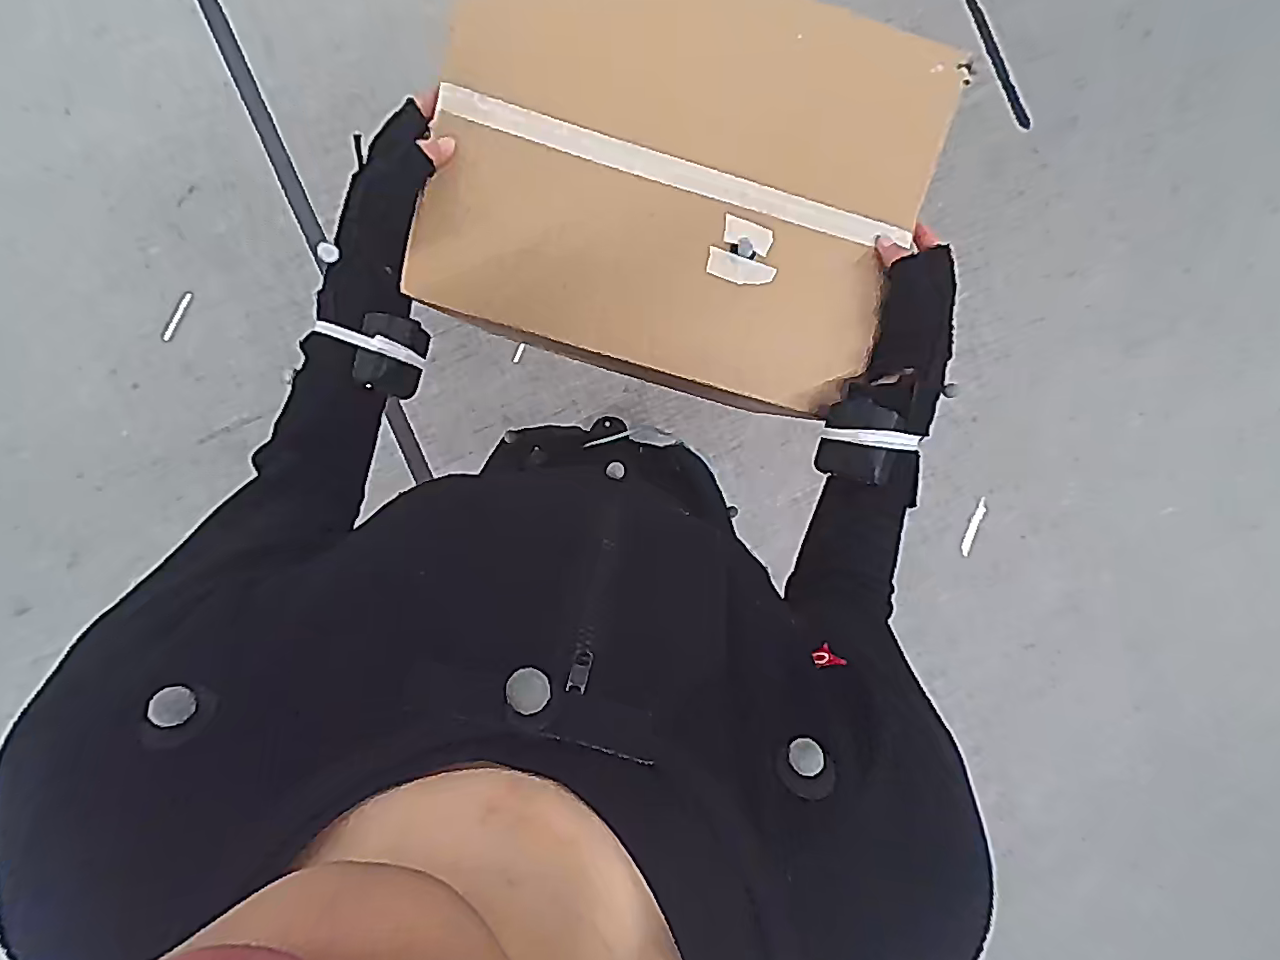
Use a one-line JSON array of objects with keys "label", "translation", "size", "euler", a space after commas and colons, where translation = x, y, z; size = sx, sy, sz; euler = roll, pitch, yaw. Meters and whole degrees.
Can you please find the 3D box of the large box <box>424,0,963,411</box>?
[{"label": "large box", "translation": [0.035, -0.282, 0.605], "size": [0.408, 0.320, 0.320], "euler": [16, 99, -5]}]
